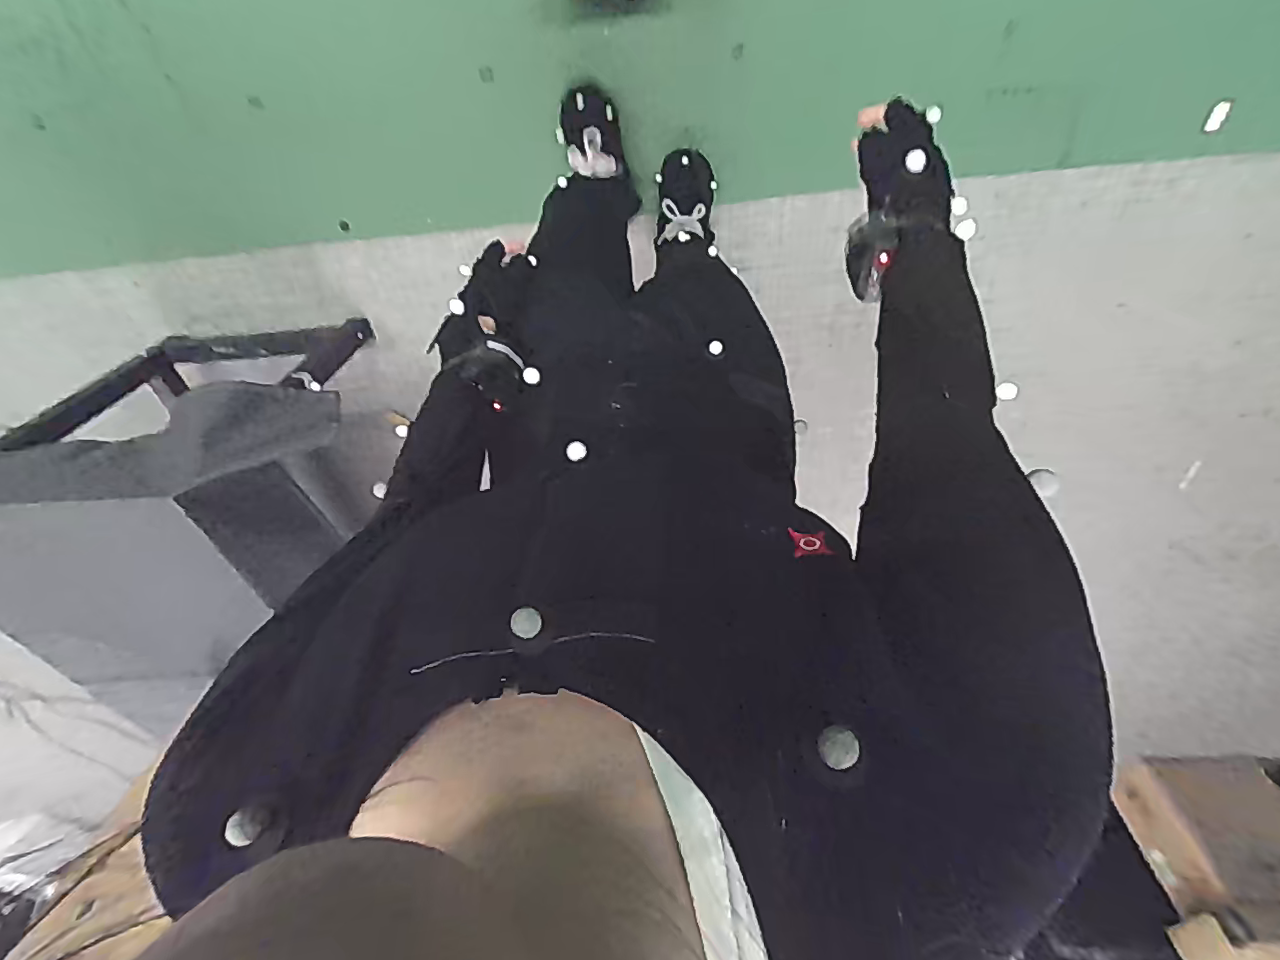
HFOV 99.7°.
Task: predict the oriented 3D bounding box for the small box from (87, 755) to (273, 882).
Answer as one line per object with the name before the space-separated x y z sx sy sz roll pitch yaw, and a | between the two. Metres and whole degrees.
small box | -0.863 0.646 1.036 0.168 0.176 0.179 -4 129 6

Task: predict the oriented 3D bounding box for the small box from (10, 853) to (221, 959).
small box | -0.875 0.751 0.912 0.168 0.176 0.179 -2 129 5
